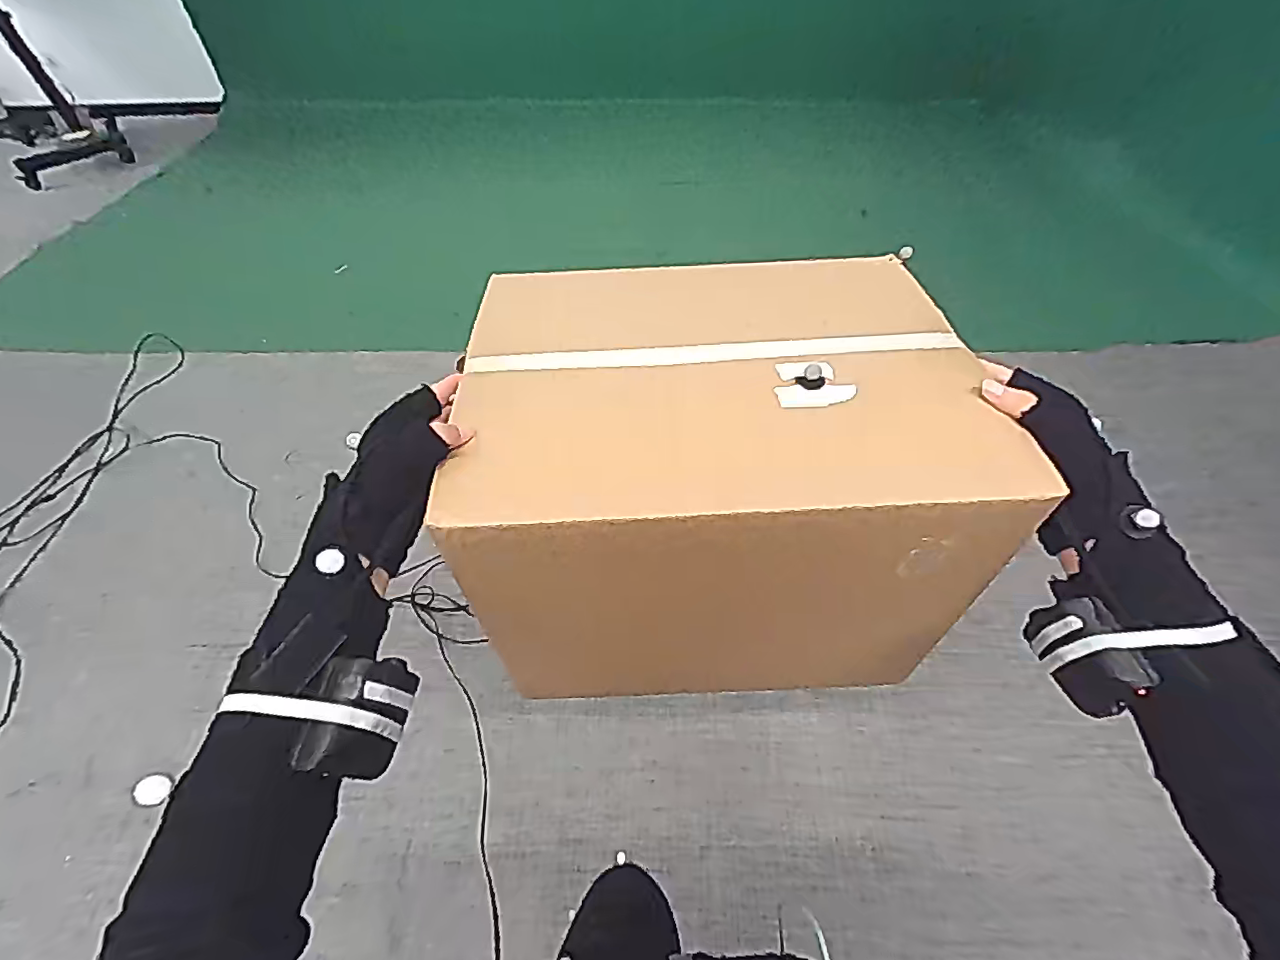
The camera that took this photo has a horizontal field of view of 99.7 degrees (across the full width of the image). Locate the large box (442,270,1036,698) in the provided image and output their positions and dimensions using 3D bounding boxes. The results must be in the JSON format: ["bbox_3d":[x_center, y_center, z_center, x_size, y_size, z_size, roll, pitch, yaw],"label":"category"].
[{"bbox_3d":[0.061,0.008,0.561,0.408,0.320,0.320,-3,49,-1],"label":"large box"}]
